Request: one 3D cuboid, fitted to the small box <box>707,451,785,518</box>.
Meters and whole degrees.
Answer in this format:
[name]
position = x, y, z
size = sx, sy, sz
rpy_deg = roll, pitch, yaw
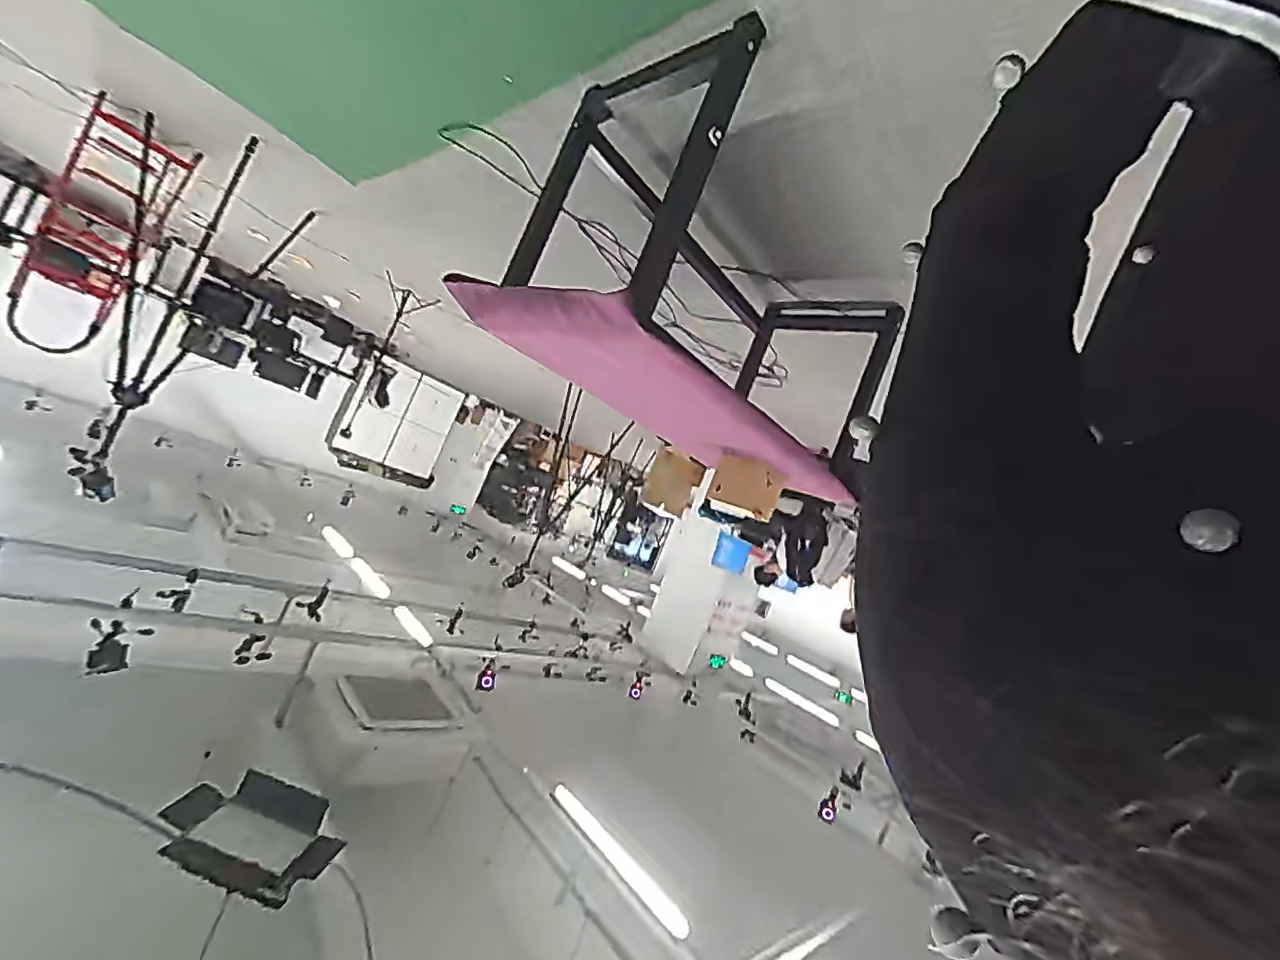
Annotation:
[small box]
position = 0.370, 0.010, 1.870
size = 0.168, 0.176, 0.179
rpy_deg = 25, 176, -39
